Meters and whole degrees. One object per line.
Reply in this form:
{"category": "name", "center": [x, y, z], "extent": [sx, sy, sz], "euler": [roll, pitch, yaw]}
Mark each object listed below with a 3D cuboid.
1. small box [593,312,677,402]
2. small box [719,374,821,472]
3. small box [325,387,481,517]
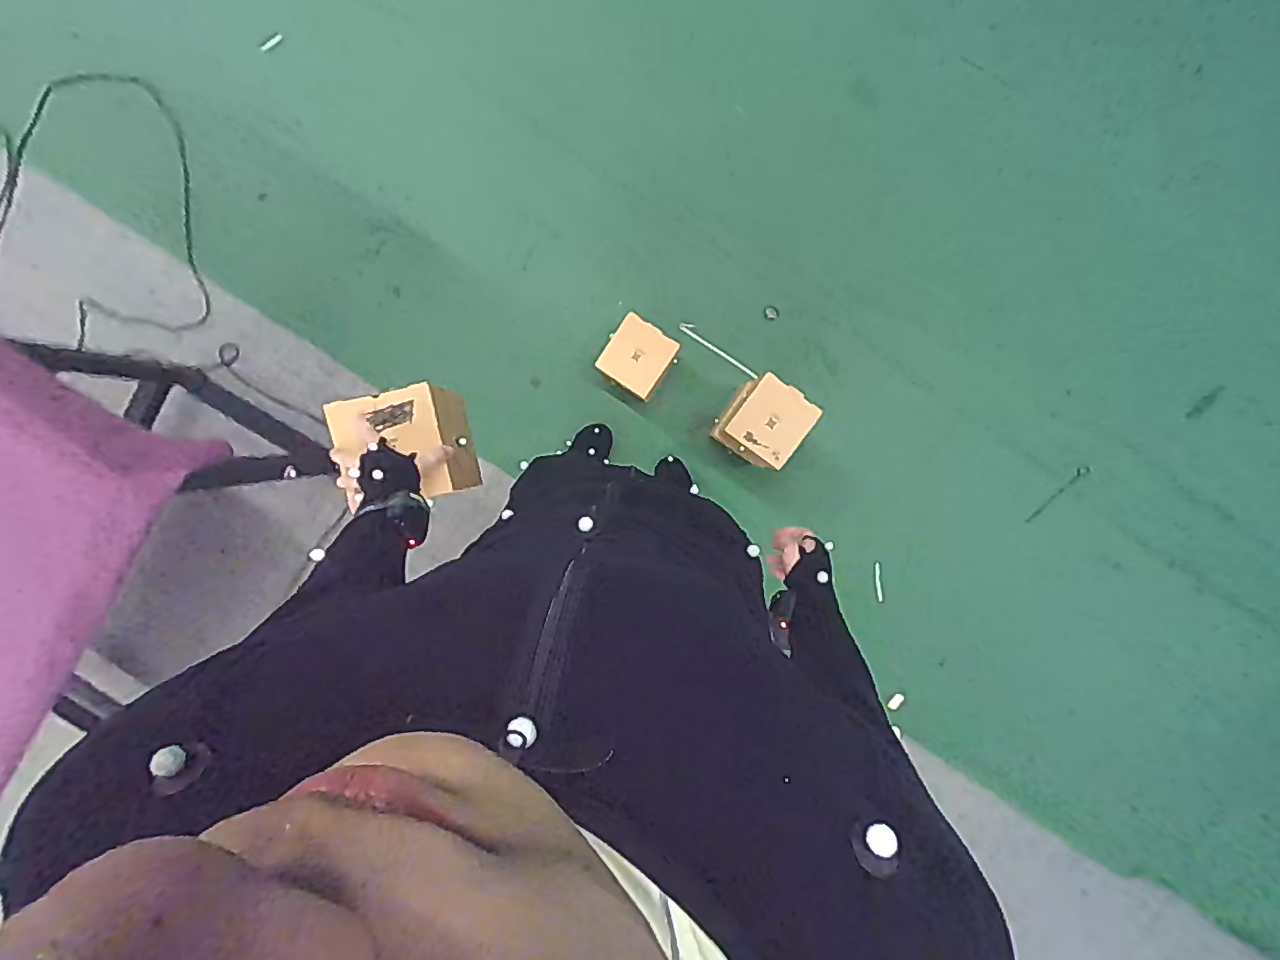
{"category": "small box", "center": [-0.007, -0.335, 1.519], "extent": [0.168, 0.176, 0.179], "euler": [34, 94, 0]}
{"category": "small box", "center": [0.315, -0.141, 1.353], "extent": [0.168, 0.176, 0.179], "euler": [37, 95, -1]}
{"category": "small box", "center": [-0.386, -0.046, 0.909], "extent": [0.168, 0.176, 0.179], "euler": [-13, 94, 1]}
